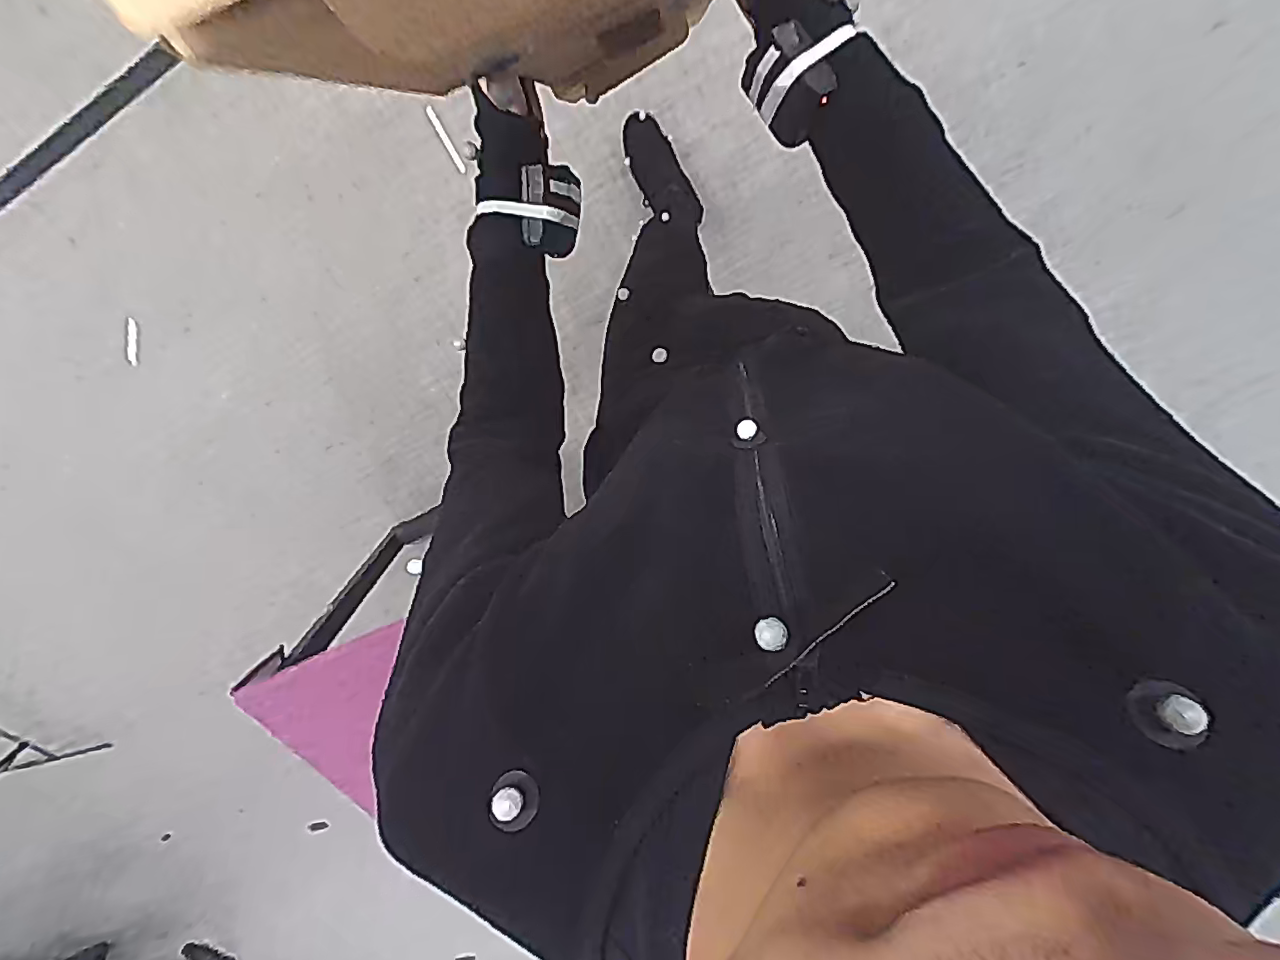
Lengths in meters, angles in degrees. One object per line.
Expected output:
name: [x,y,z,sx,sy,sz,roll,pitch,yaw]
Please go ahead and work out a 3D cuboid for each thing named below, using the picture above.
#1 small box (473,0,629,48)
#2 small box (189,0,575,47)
small box: [-0.045,-0.321,0.234,0.168,0.176,0.179,-17,121,9]
small box: [-0.036,-0.219,0.105,0.168,0.176,0.179,-17,121,9]
